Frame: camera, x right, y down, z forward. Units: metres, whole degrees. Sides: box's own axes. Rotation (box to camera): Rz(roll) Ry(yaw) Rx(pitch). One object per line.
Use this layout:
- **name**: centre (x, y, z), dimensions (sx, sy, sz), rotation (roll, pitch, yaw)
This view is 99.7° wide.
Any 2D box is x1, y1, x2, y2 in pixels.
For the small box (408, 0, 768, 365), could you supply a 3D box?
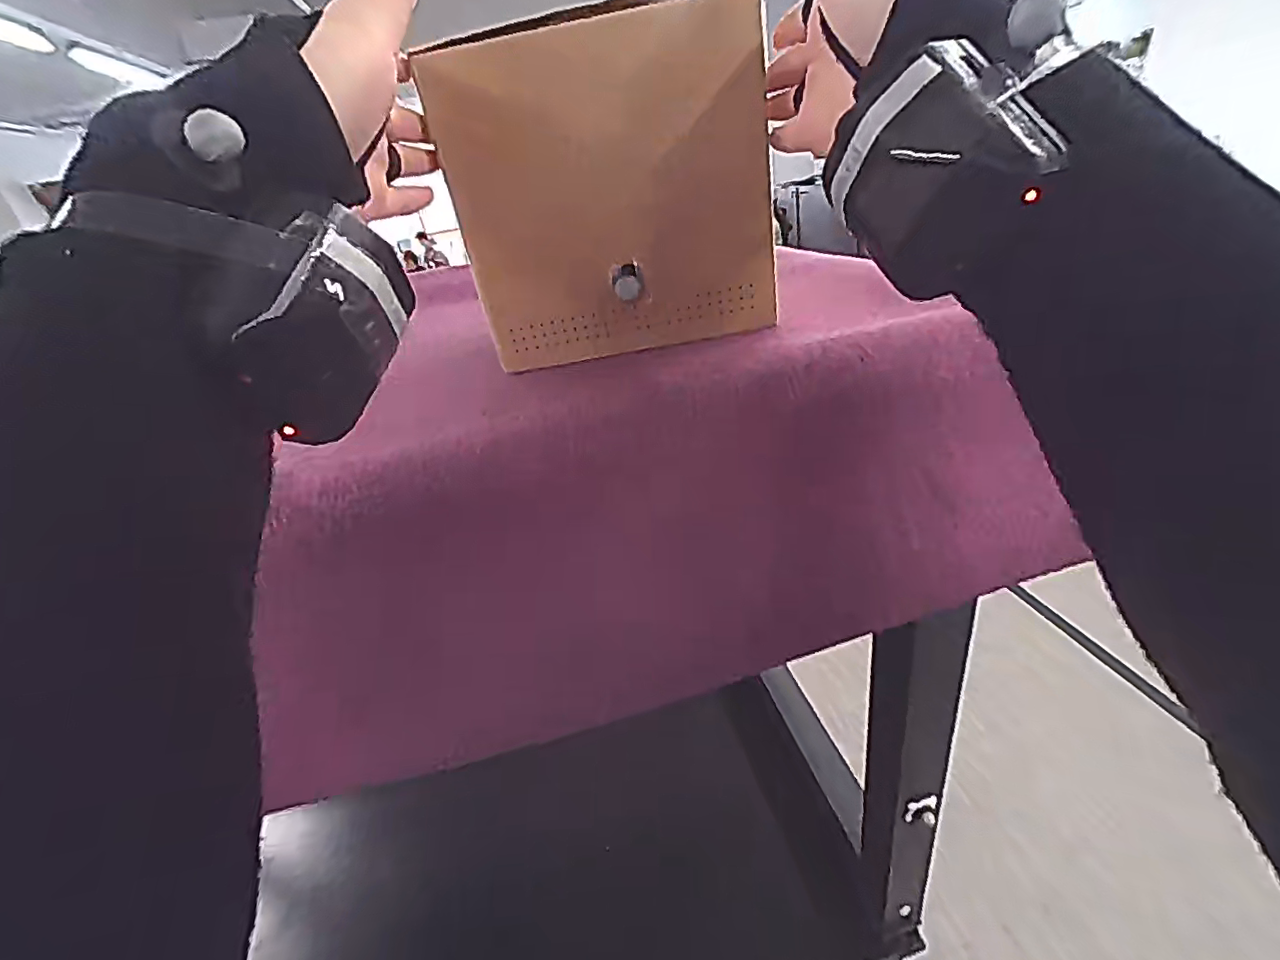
- **small box**: centre (-0.017, -0.191, 0.363), dimensions (0.179, 0.176, 0.168), rotation (-9, 28, 3)
